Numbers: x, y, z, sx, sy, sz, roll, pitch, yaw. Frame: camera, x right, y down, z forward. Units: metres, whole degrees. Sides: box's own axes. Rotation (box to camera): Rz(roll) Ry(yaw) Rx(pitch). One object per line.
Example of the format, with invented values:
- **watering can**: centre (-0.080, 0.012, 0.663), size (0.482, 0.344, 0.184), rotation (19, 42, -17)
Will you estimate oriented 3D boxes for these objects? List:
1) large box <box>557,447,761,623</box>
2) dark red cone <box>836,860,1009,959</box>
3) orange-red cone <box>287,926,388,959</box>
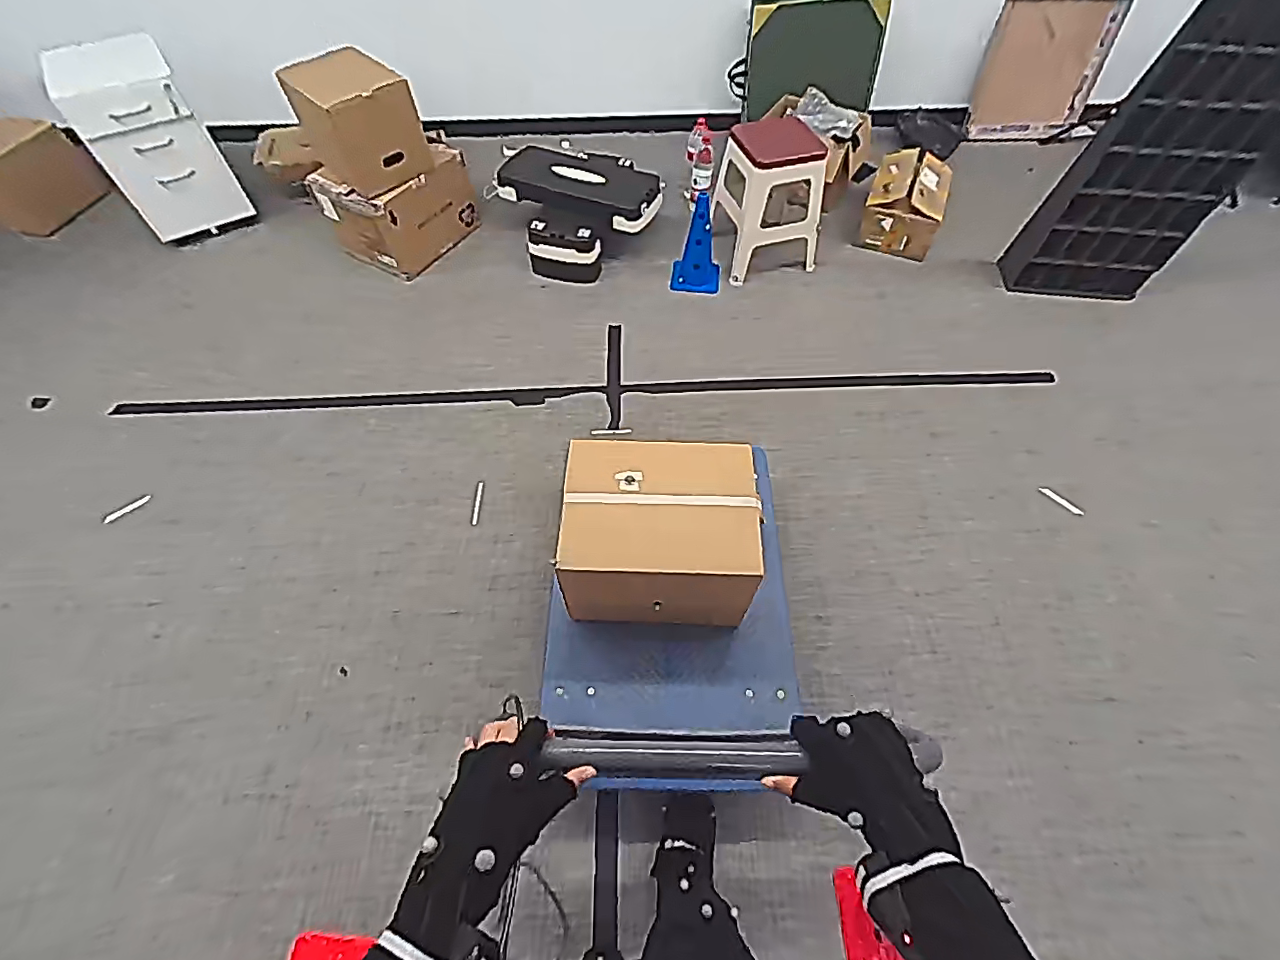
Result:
- **large box**: centre (0.043, 0.135, 1.249), size (0.408, 0.320, 0.320), rotation (1, 57, 2)
- **dark red cone**: centre (0.517, 0.805, 0.957), size (0.201, 0.394, 0.202), rotation (0, 57, -2)
- **orange-red cone**: centre (-0.612, 0.910, 0.913), size (0.198, 0.360, 0.199), rotation (6, 55, 3)
